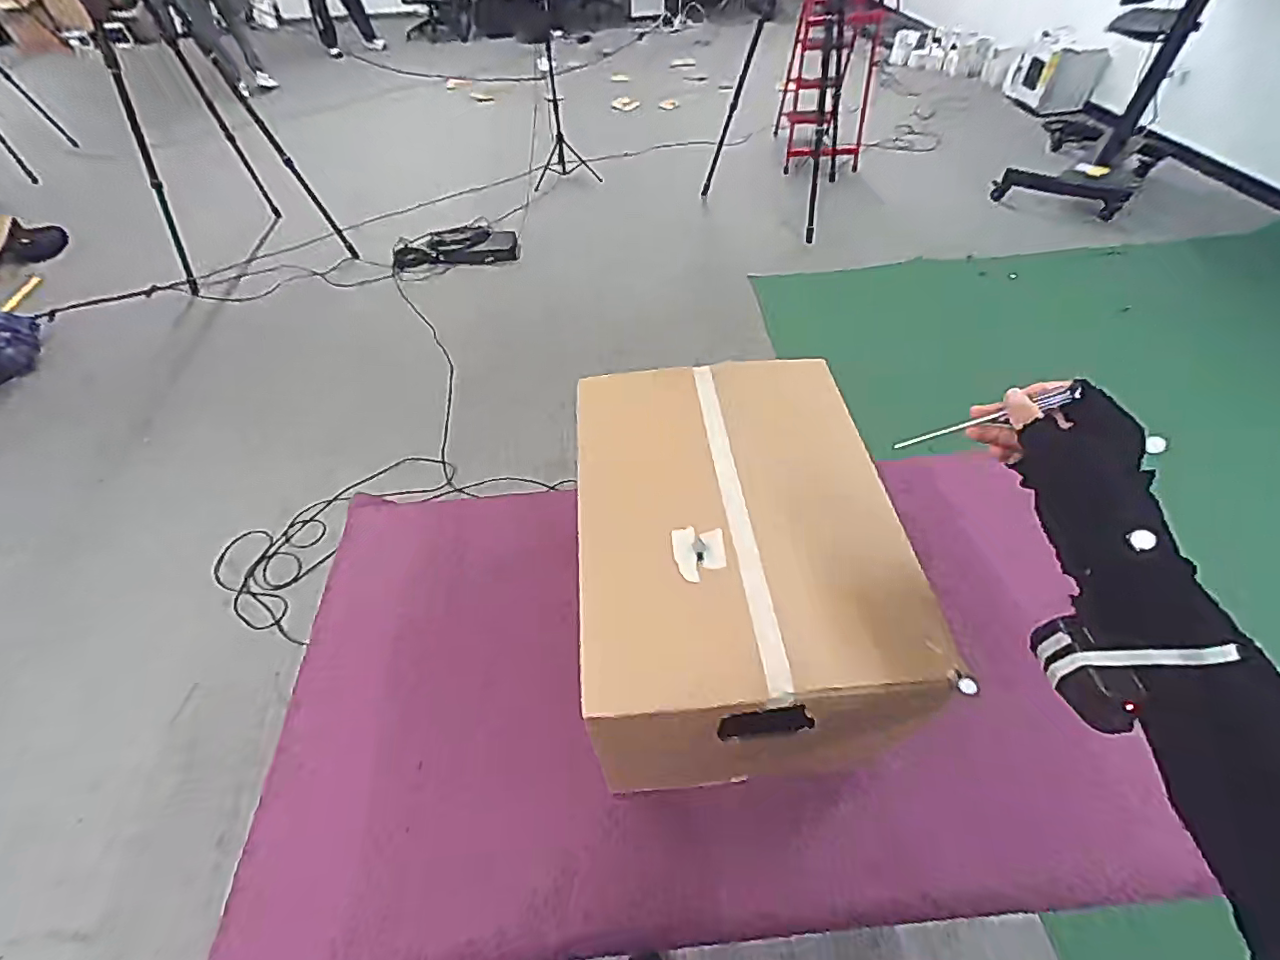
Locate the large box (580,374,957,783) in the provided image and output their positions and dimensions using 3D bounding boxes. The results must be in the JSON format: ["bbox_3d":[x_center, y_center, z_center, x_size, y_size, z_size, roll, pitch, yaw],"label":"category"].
[{"bbox_3d":[0.098,0.119,0.682,0.320,0.320,0.408,-5,51,-2],"label":"large box"}]
